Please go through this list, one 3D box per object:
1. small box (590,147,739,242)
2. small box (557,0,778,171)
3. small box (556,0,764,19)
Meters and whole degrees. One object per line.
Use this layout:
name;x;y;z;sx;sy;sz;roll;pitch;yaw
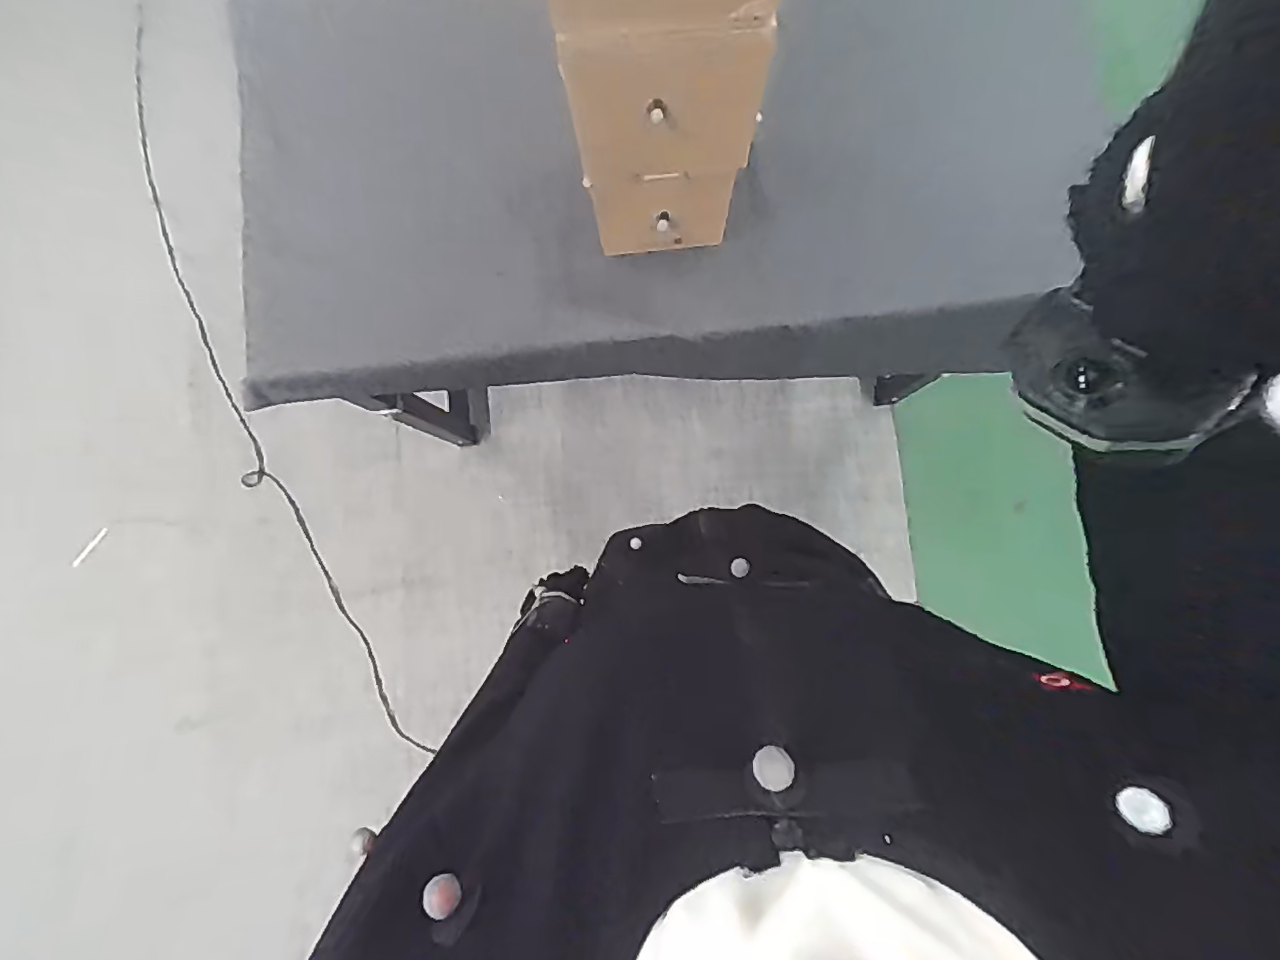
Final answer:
small box;0.027;-0.418;0.674;0.168;0.176;0.179;-6;85;3
small box;0.024;-0.425;0.509;0.179;0.176;0.168;-3;85;5
small box;0.014;-0.446;0.349;0.179;0.176;0.168;-1;86;3
